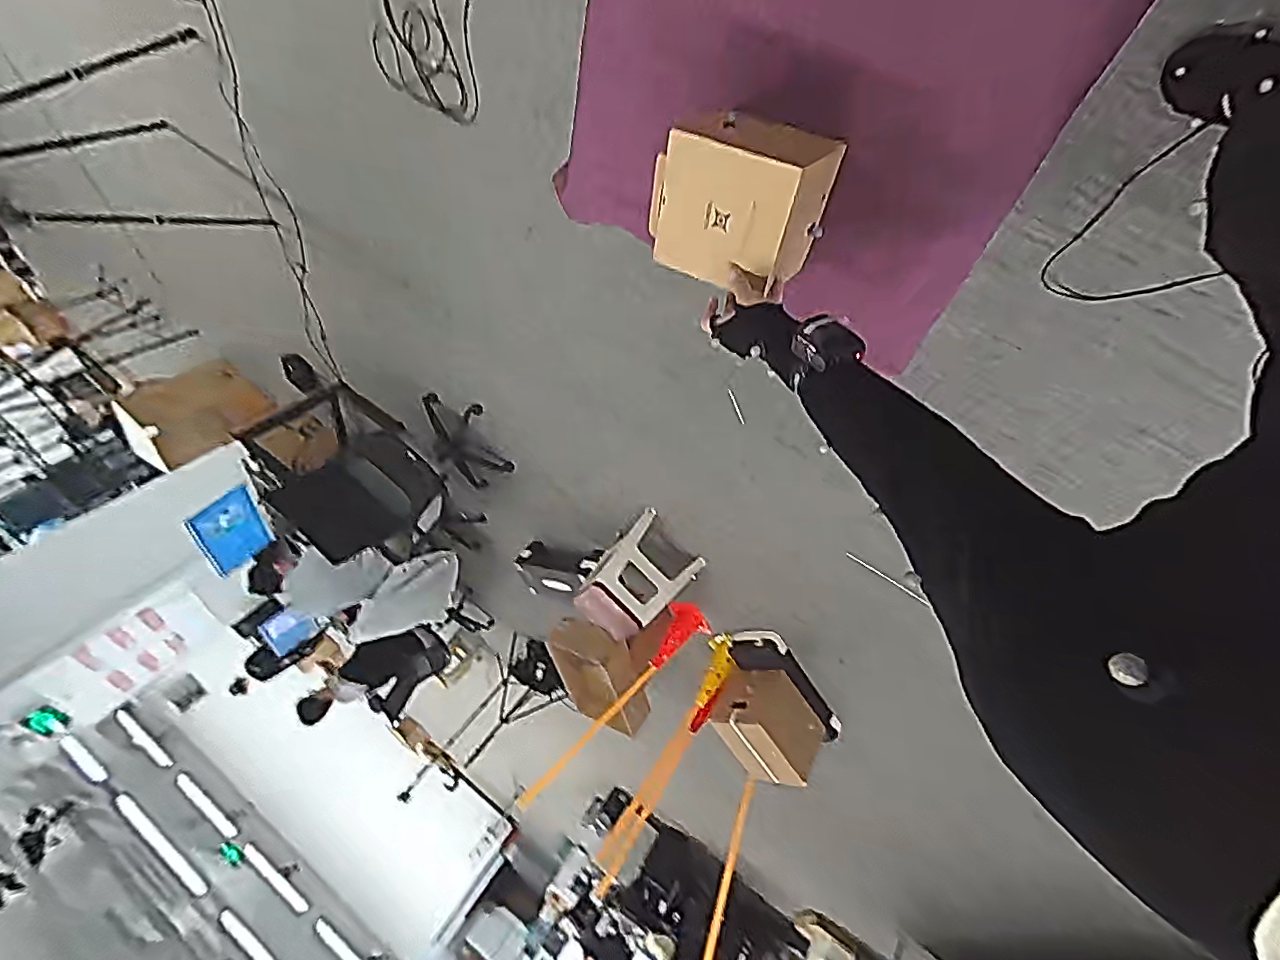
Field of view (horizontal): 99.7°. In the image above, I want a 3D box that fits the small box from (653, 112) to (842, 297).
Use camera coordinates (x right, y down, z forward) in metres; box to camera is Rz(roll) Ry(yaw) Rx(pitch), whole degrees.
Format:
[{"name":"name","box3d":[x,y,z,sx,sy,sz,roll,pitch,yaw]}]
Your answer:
[{"name":"small box","box3d":[0.144,-0.384,0.741,0.179,0.176,0.168,30,140,17]}]
